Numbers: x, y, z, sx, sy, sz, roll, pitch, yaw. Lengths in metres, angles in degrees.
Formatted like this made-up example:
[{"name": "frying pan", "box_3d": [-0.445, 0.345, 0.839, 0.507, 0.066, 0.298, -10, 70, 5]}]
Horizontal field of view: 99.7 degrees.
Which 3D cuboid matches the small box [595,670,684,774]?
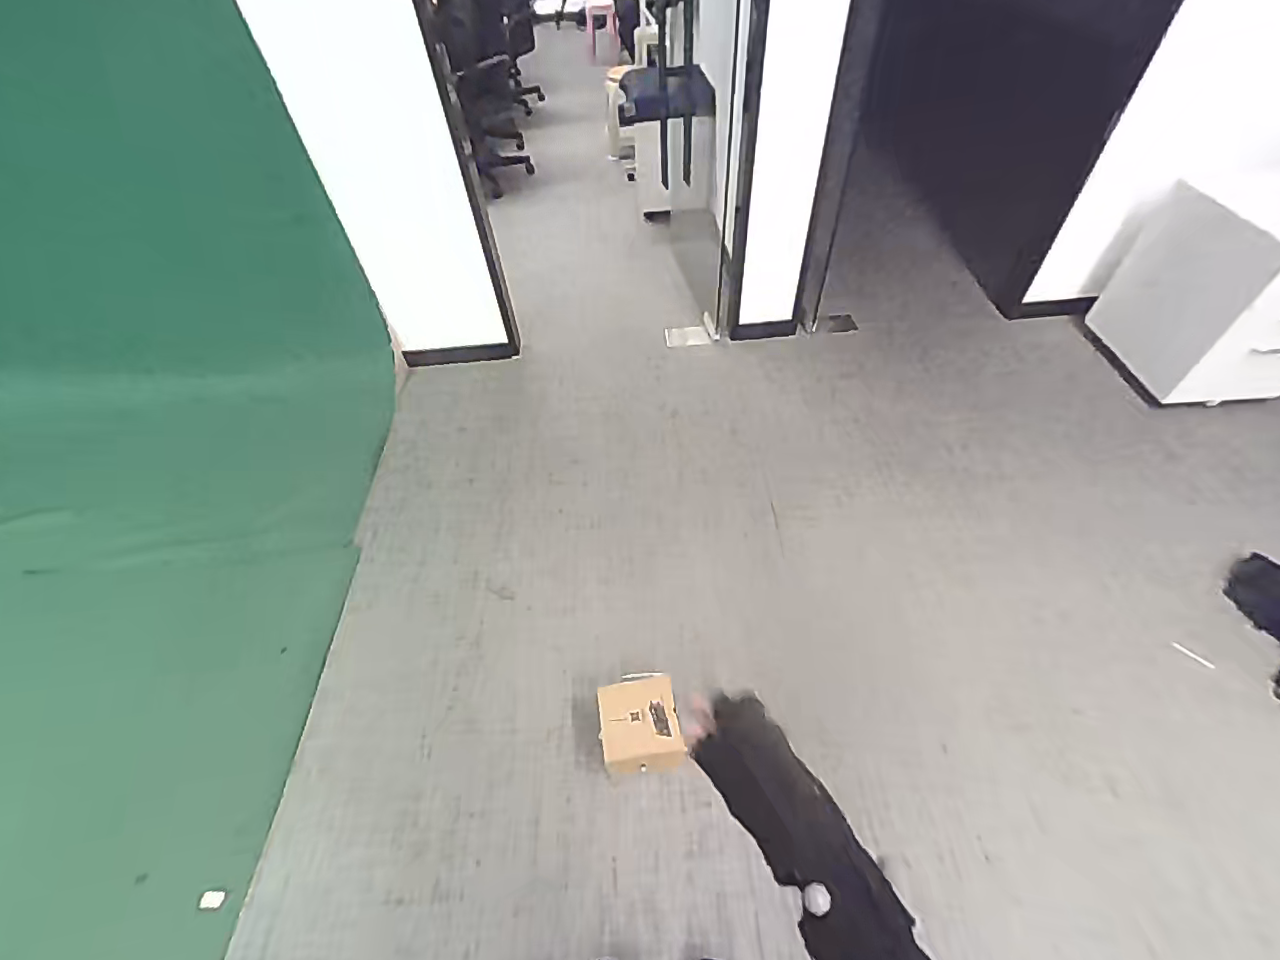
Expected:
[{"name": "small box", "box_3d": [-0.003, 0.575, 1.280, 0.179, 0.176, 0.168, -11, 50, -6]}]
